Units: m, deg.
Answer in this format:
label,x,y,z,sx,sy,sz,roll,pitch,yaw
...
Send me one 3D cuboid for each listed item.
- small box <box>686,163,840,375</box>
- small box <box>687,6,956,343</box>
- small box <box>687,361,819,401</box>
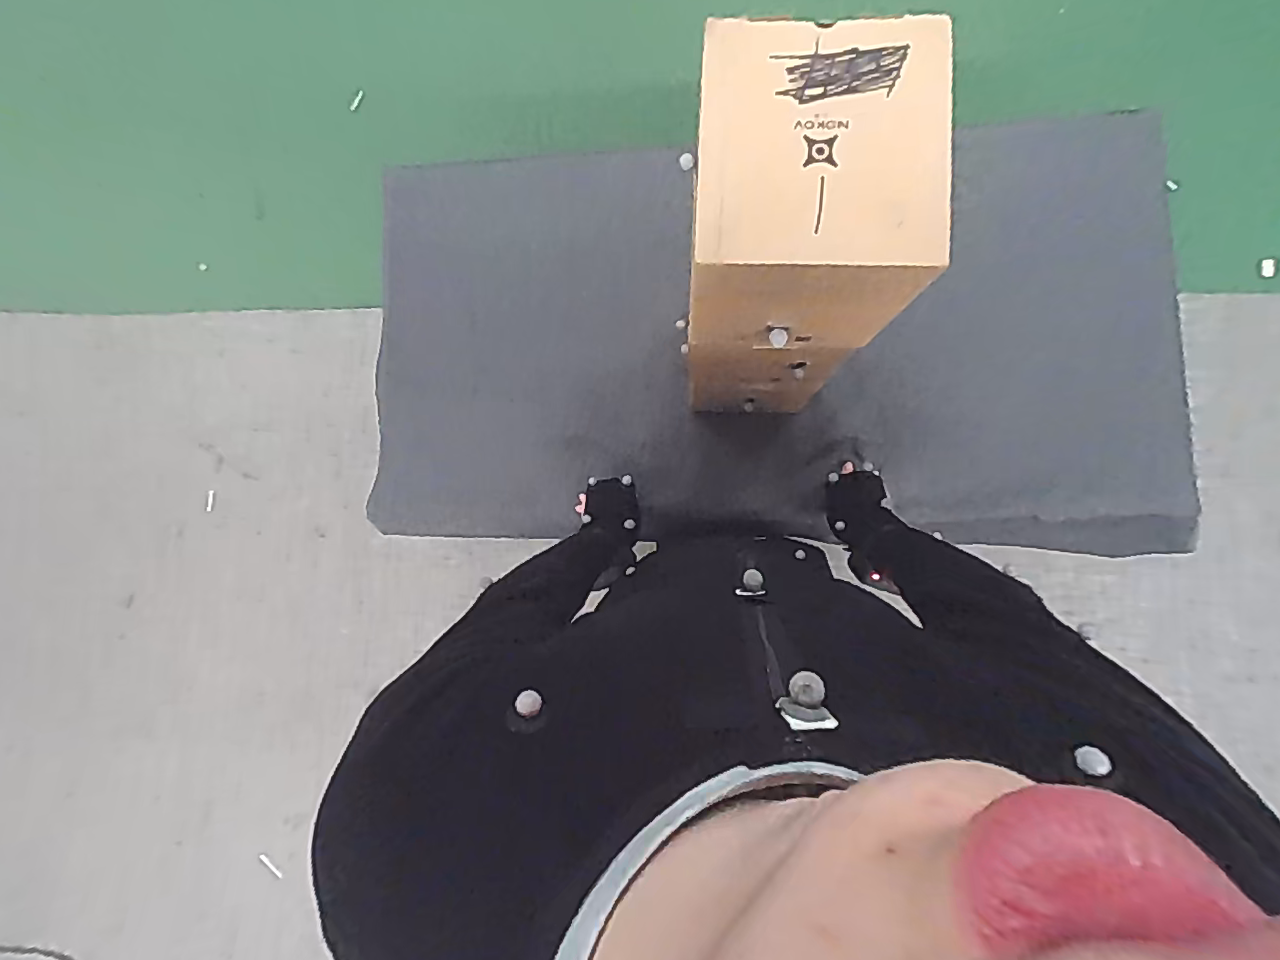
label,x,y,z,sx,sy,sz,roll,pitch,yaw
small box,0.136,-0.219,0.598,0.168,0.176,0.179,1,86,4
small box,0.125,-0.224,0.434,0.168,0.176,0.179,3,88,5
small box,0.153,-0.210,0.759,0.168,0.176,0.179,2,87,5
